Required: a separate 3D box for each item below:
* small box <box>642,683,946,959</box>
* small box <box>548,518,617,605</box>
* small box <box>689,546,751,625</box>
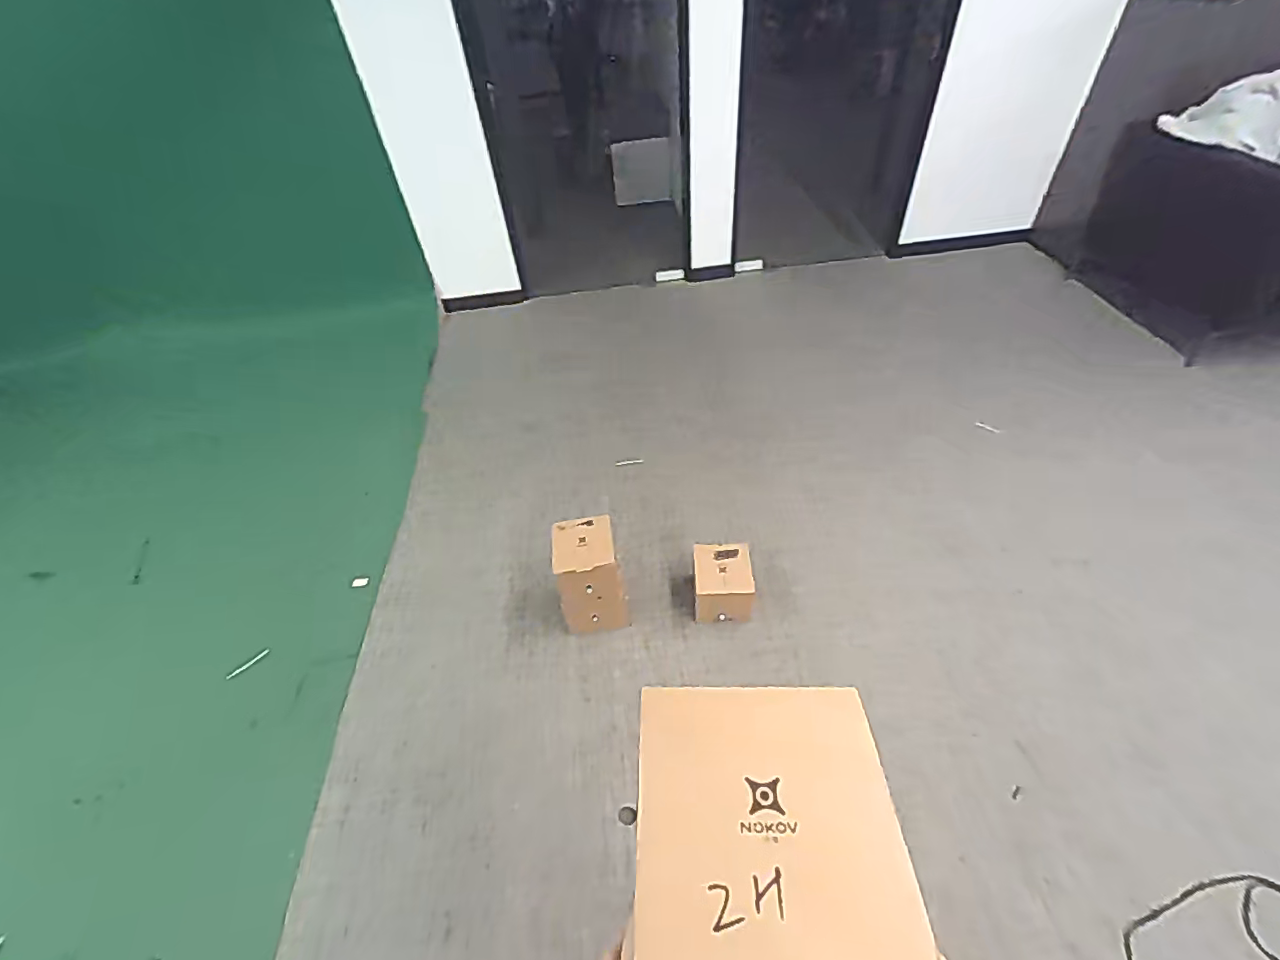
[{"bbox_3d":[0.088,0.275,0.399,0.168,0.176,0.179,-1,38,3],"label":"small box"},{"bbox_3d":[-0.160,0.233,1.510,0.168,0.176,0.179,-9,46,-3],"label":"small box"},{"bbox_3d":[0.234,0.316,1.623,0.168,0.176,0.179,-2,47,3],"label":"small box"}]
